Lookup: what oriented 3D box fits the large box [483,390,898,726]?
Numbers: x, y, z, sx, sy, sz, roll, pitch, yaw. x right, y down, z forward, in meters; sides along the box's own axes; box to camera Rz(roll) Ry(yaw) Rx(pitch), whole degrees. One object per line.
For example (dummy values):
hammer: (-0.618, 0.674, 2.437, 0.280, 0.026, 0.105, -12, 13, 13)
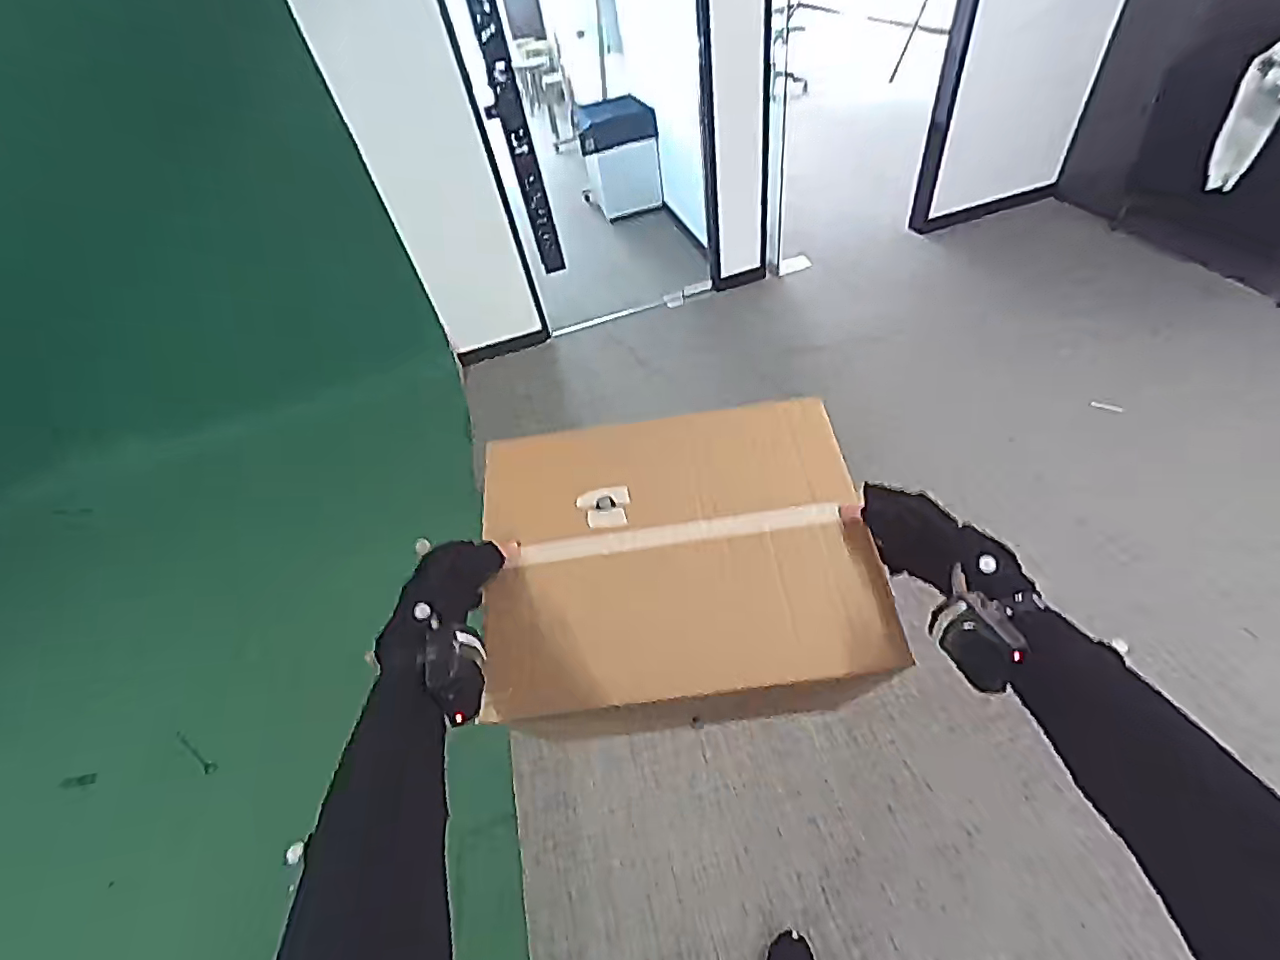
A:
large box: (0.044, 0.123, 0.708, 0.408, 0.320, 0.320, -8, 60, 2)
